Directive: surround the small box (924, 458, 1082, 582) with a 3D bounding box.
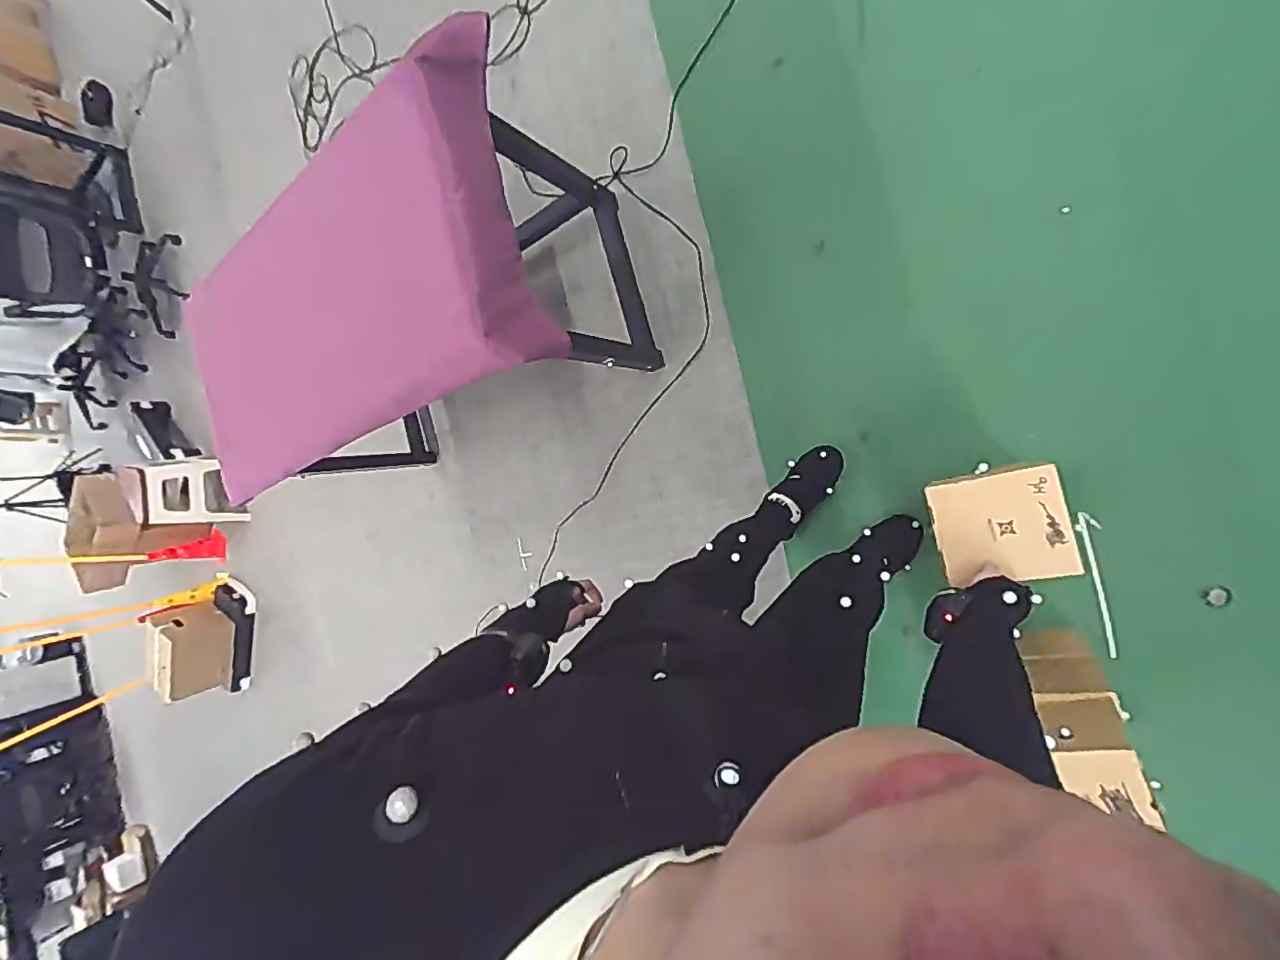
[{"bbox_3d":[0.584,0.063,0.882,0.179,0.176,0.168,-14,86,32],"label":"small box"}]

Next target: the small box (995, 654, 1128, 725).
[{"bbox_3d":[0.777,0.433,0.997,0.179,0.176,0.168,-16,88,33],"label":"small box"}]

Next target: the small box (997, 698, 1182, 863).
[{"bbox_3d":[0.694,0.465,0.859,0.179,0.176,0.168,-23,84,34],"label":"small box"}]
